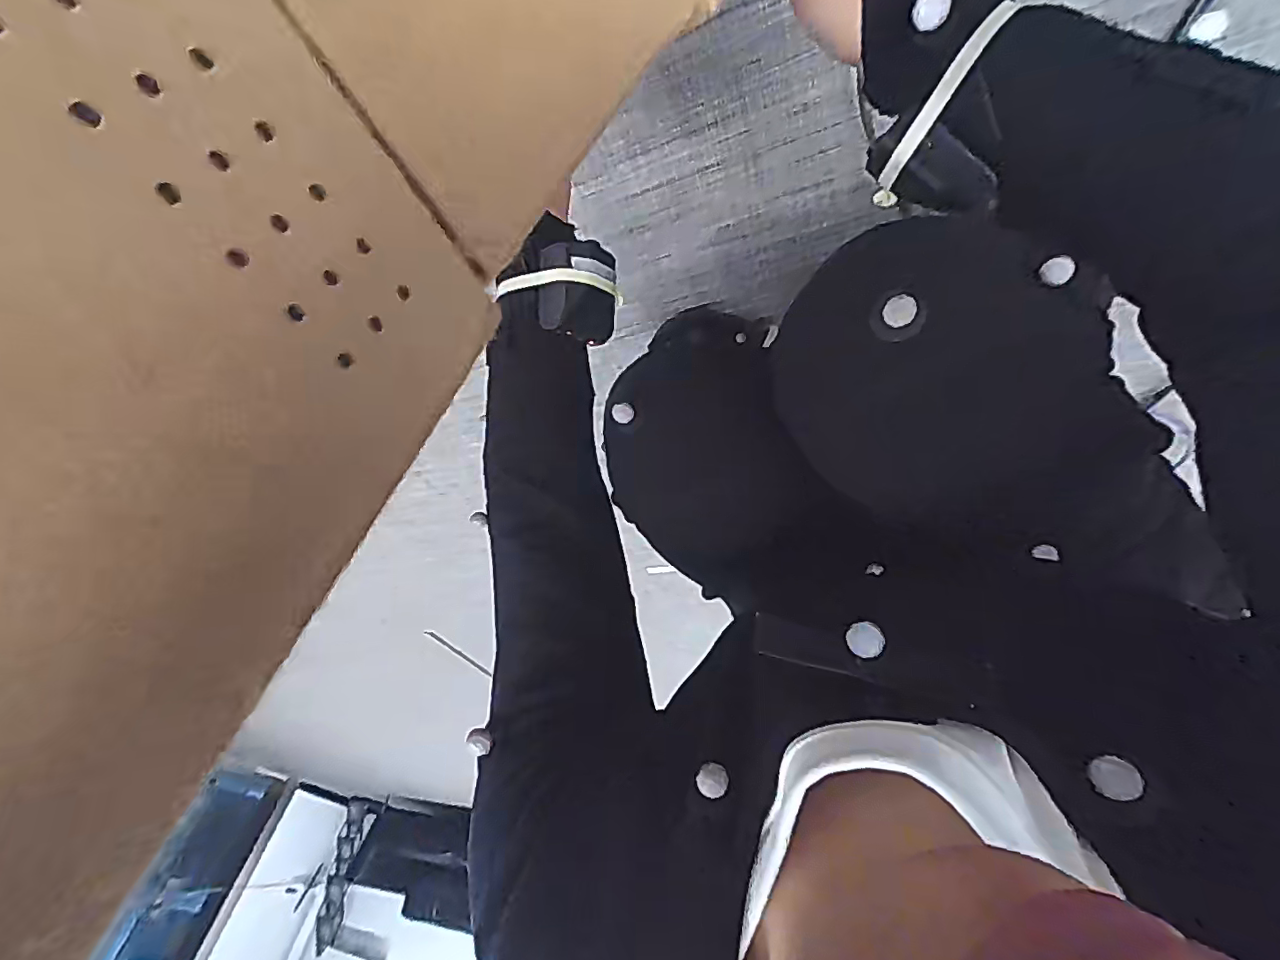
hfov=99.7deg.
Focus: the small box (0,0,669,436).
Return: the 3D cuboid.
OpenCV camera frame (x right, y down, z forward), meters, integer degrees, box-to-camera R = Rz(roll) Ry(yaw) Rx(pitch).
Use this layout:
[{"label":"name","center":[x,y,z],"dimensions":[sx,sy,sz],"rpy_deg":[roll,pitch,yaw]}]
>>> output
[{"label":"small box","center":[-0.108,-0.137,0.102],"dimensions":[0.168,0.176,0.179],"rpy_deg":[-7,139,30]}]
